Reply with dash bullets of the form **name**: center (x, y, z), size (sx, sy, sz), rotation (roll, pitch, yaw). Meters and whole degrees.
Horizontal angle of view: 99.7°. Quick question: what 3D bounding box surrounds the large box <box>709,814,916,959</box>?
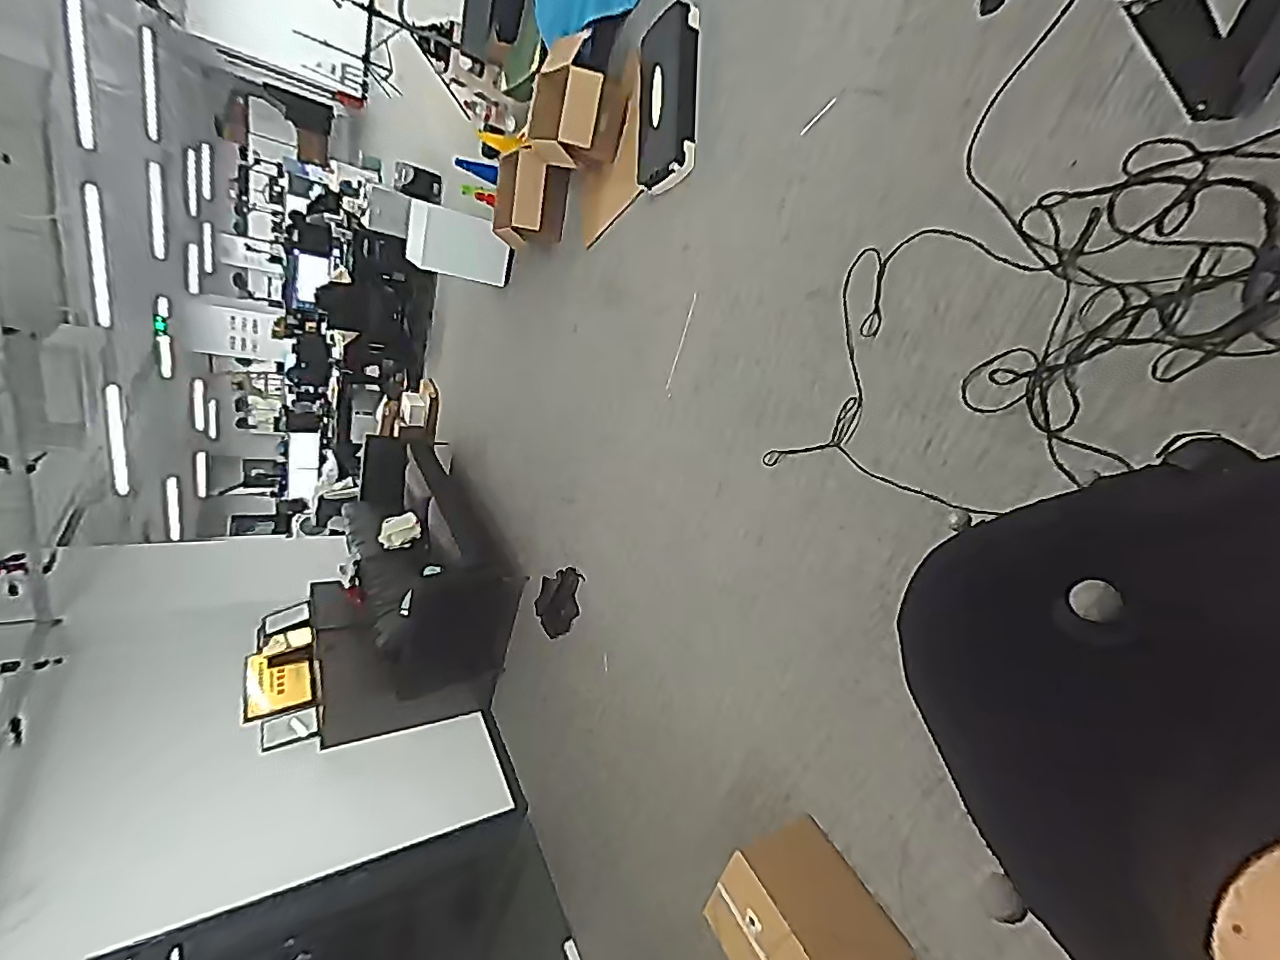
- **large box**: center (0.470, 1.267, 1.531), size (0.408, 0.320, 0.320), rotation (45, 124, 48)
